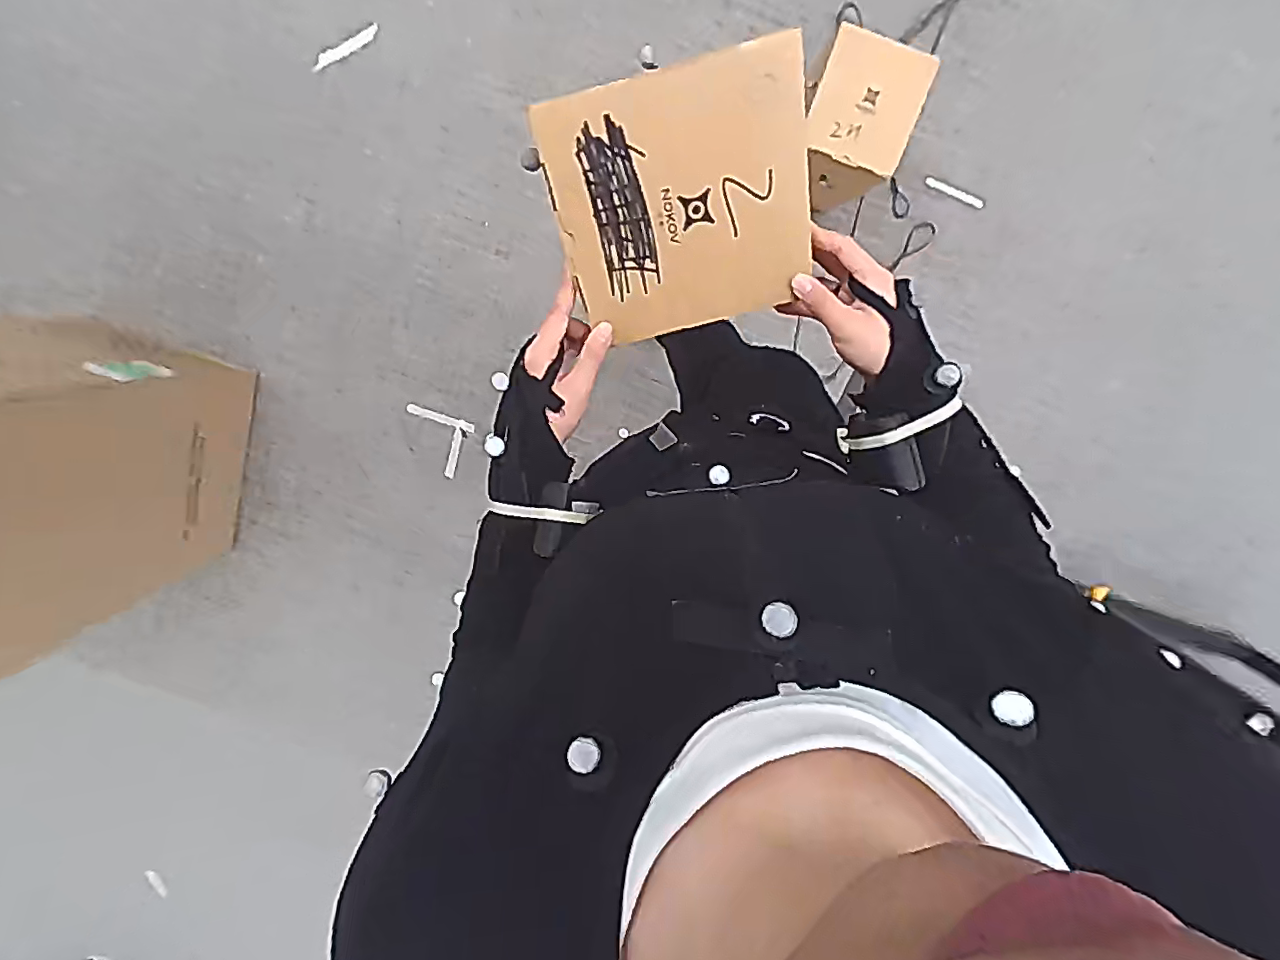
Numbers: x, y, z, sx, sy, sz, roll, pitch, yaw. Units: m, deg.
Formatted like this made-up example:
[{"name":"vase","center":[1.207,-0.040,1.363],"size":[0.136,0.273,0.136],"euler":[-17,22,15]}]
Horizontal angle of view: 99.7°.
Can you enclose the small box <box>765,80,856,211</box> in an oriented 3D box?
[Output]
[{"name":"small box","center":[0.364,-0.664,1.075],"size":[0.168,0.176,0.179],"euler":[20,107,-4]}]

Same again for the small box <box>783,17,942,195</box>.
[{"name":"small box","center":[0.360,-0.616,0.917],"size":[0.168,0.176,0.179],"euler":[19,107,-3]}]
